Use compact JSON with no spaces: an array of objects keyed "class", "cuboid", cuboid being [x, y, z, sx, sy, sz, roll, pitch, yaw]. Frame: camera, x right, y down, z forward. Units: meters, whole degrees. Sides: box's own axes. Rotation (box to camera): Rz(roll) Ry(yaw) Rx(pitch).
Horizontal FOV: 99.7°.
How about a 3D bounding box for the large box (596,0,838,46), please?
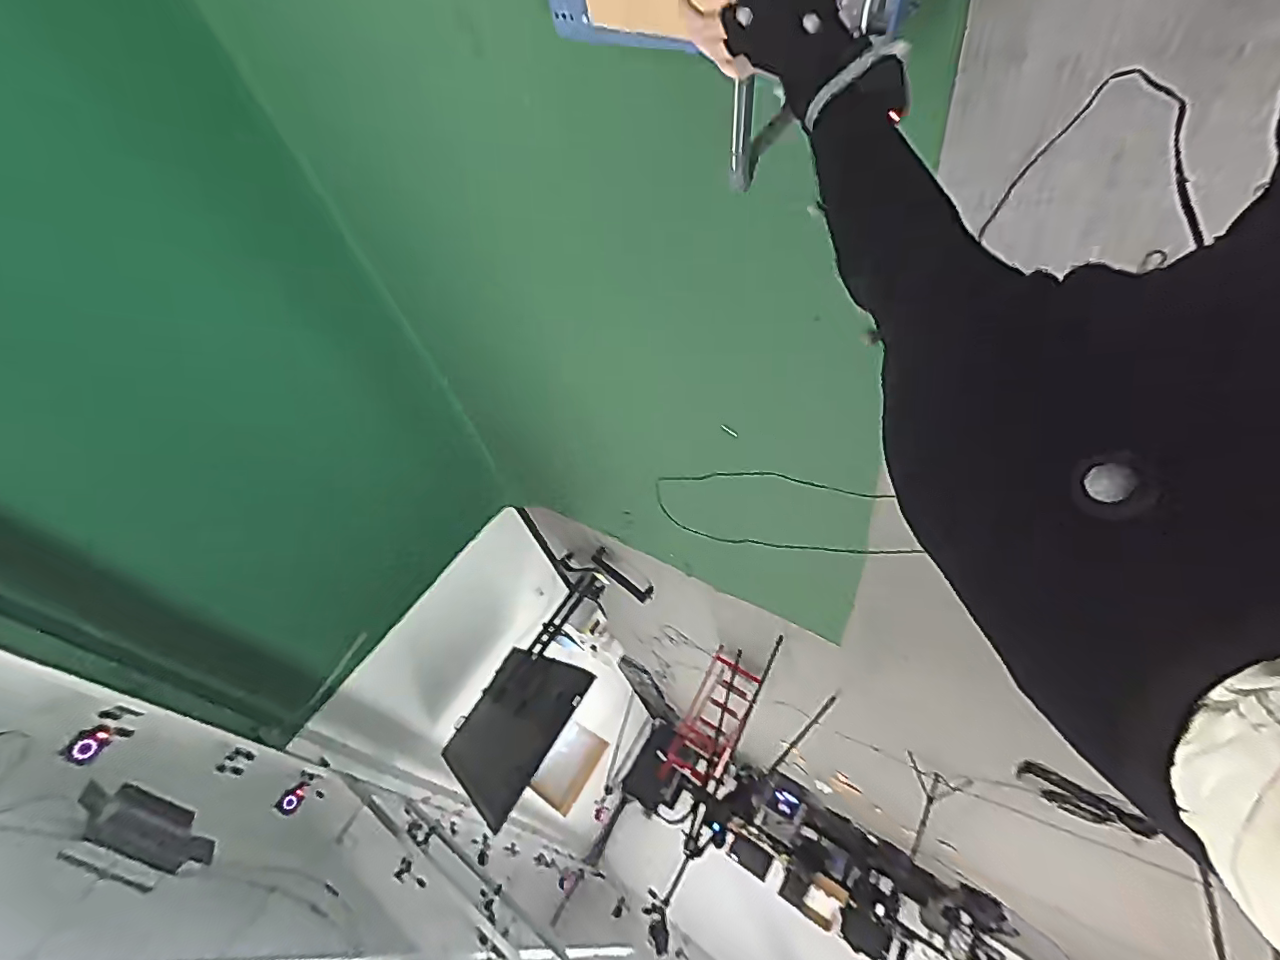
[{"class":"large box","cuboid":[0.156,-1.013,0.935,0.408,0.320,0.320,28,151,21]}]
